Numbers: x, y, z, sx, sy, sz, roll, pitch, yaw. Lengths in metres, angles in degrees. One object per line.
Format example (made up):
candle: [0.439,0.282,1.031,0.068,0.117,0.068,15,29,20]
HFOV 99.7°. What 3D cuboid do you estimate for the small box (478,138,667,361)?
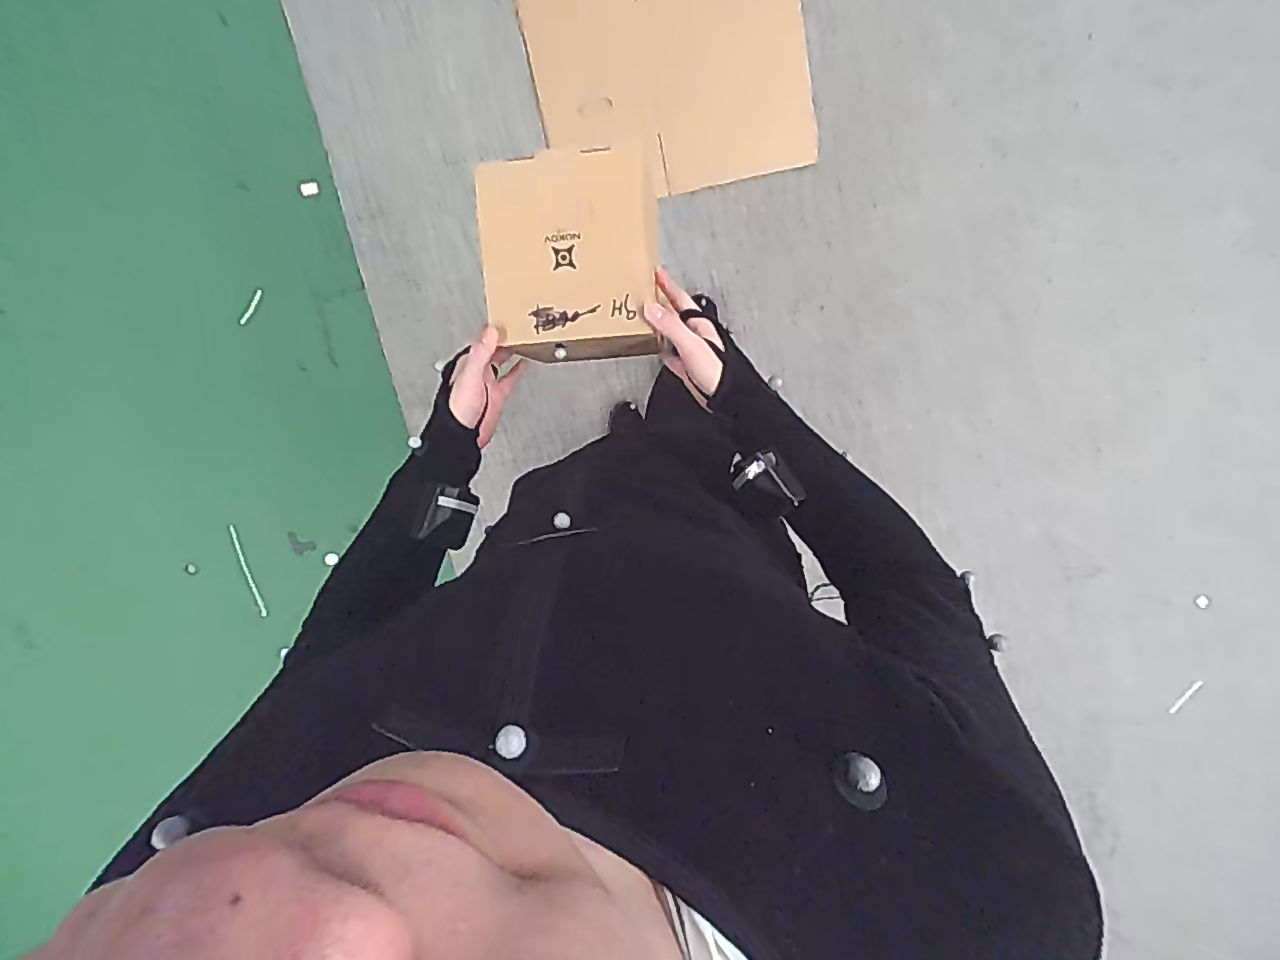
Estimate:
small box: [-0.061,-0.233,0.594,0.168,0.176,0.179,-3,95,8]
